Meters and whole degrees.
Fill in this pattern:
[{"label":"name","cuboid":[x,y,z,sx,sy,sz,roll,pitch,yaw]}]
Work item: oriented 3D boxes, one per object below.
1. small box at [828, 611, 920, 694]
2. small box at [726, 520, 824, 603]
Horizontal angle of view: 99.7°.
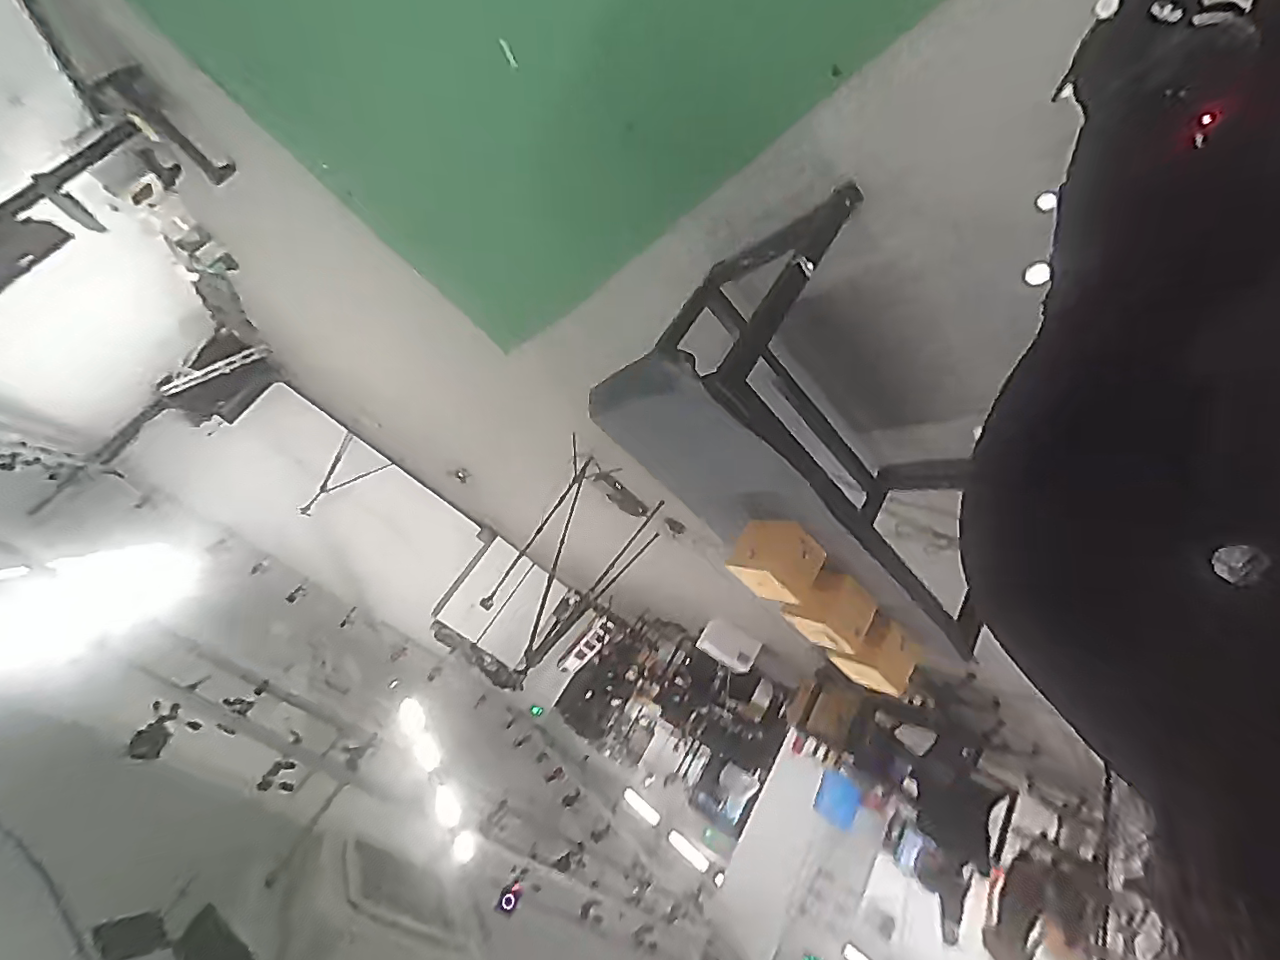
[{"label":"small box","cuboid":[0.730,0.529,1.684,0.168,0.176,0.179,42,159,-20]},{"label":"small box","cuboid":[0.384,0.223,1.528,0.168,0.176,0.179,42,157,-21]}]
